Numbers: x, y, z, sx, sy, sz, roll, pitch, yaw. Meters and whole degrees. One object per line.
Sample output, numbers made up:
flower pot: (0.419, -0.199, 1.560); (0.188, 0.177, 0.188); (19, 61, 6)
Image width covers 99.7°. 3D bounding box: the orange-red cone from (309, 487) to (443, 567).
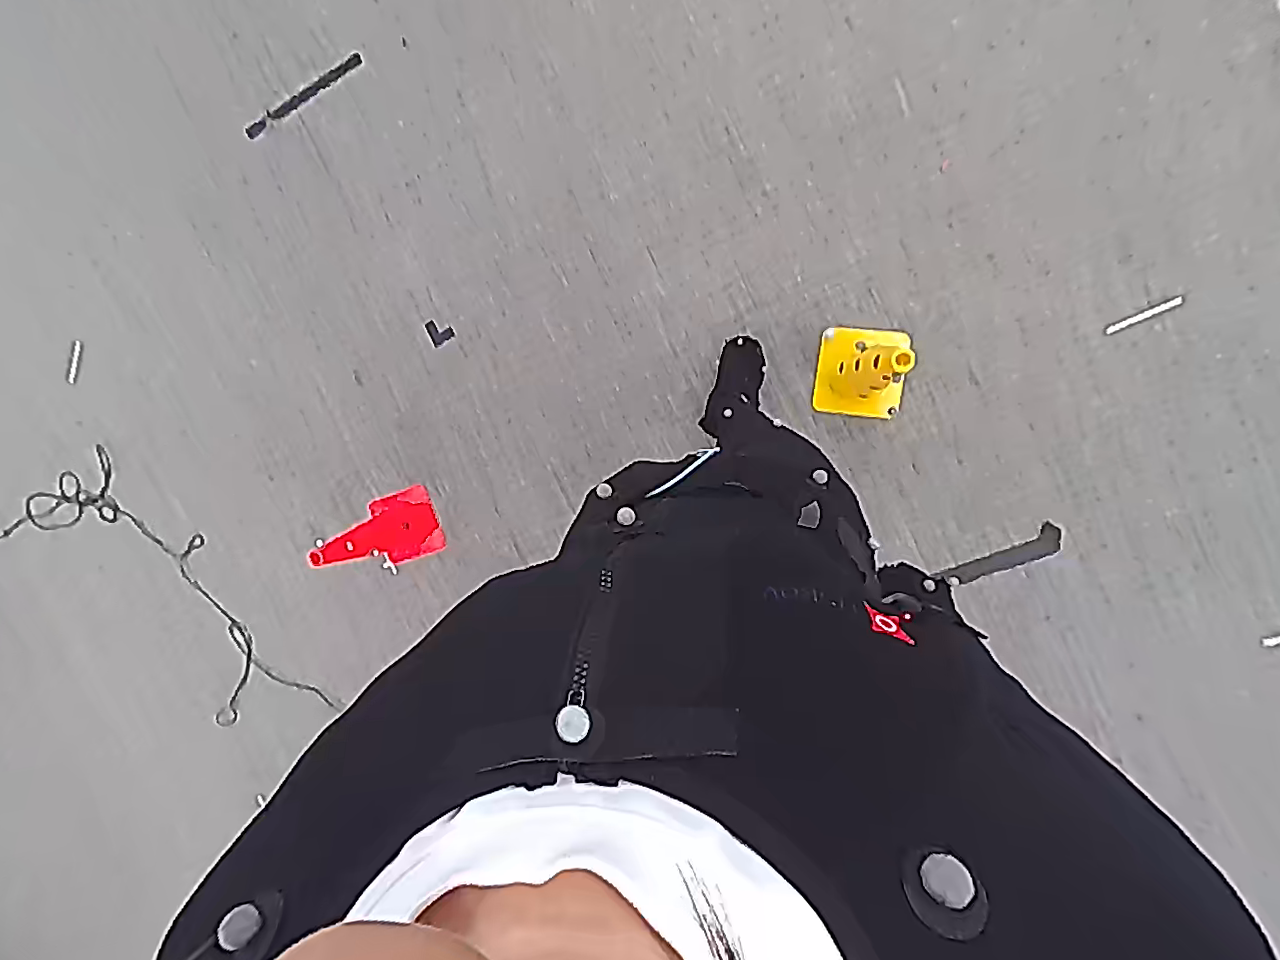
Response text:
orange-red cone: (-0.711, 0.154, 1.406); (0.199, 0.360, 0.198); (-17, 95, 11)
